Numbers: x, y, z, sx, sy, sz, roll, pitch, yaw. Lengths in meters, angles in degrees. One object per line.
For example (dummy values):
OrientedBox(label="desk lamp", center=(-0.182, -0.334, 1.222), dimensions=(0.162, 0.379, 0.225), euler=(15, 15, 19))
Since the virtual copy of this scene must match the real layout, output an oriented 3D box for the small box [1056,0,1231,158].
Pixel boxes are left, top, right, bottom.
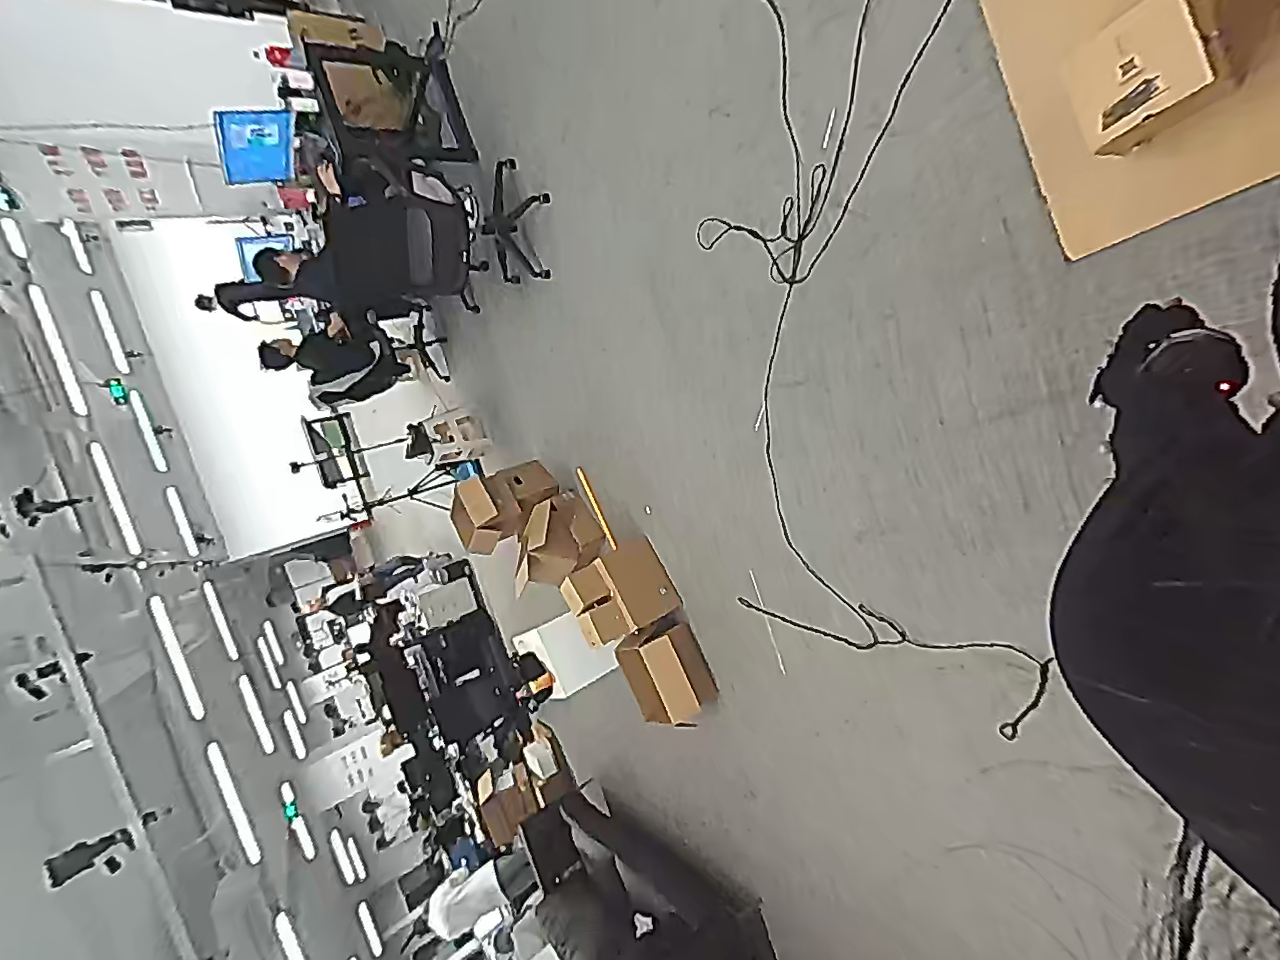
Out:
OrientedBox(label="small box", center=(0.884, -0.700, 0.949), dimensions=(0.168, 0.176, 0.179), euler=(-21, 89, 57))
